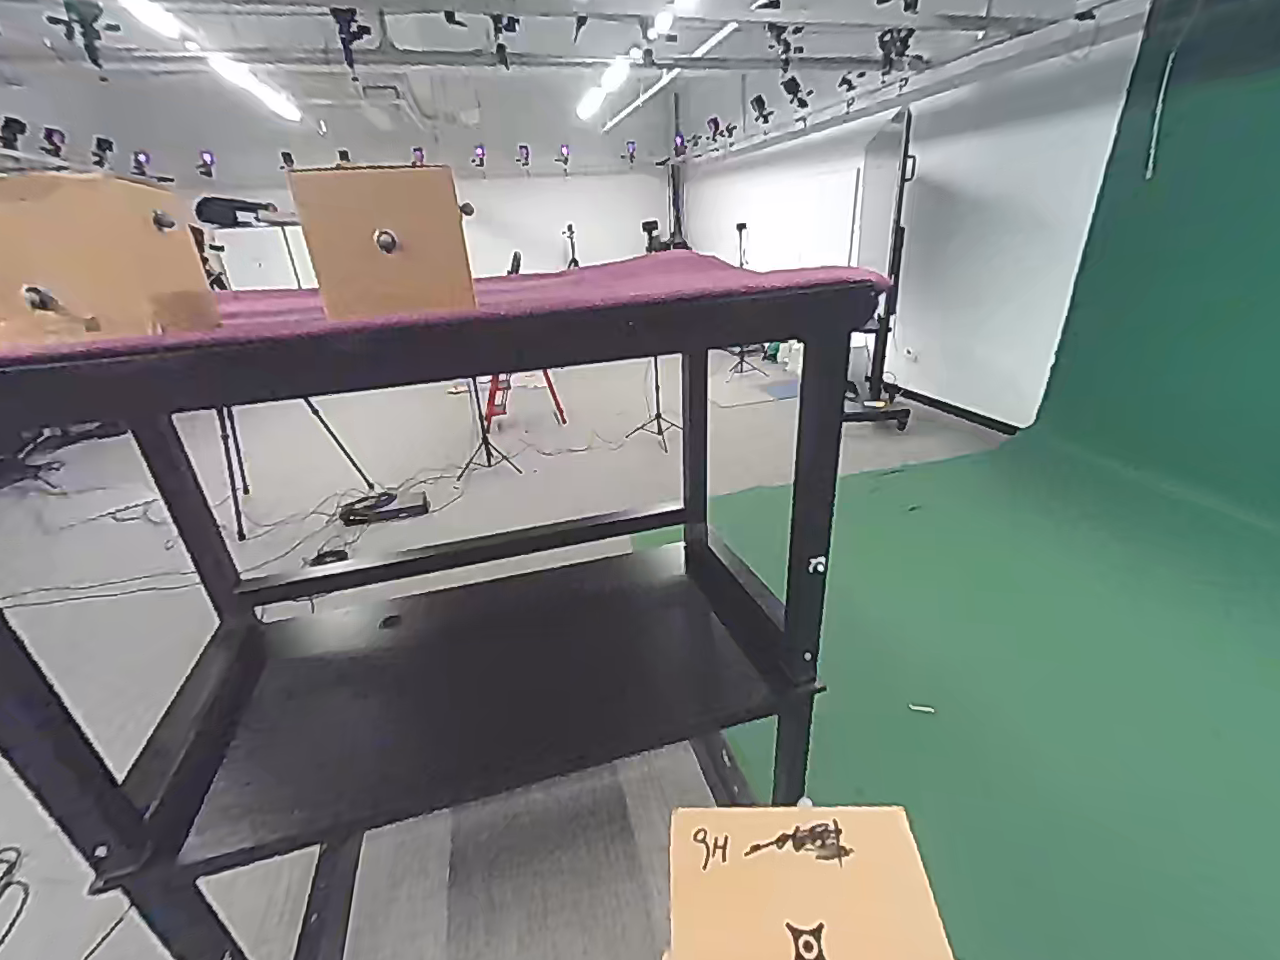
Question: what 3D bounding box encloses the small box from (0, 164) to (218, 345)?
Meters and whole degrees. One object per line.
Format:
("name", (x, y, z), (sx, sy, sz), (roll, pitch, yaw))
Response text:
("small box", (-0.623, -0.252, 0.616), (0.168, 0.176, 0.179), (-10, 25, -16))
